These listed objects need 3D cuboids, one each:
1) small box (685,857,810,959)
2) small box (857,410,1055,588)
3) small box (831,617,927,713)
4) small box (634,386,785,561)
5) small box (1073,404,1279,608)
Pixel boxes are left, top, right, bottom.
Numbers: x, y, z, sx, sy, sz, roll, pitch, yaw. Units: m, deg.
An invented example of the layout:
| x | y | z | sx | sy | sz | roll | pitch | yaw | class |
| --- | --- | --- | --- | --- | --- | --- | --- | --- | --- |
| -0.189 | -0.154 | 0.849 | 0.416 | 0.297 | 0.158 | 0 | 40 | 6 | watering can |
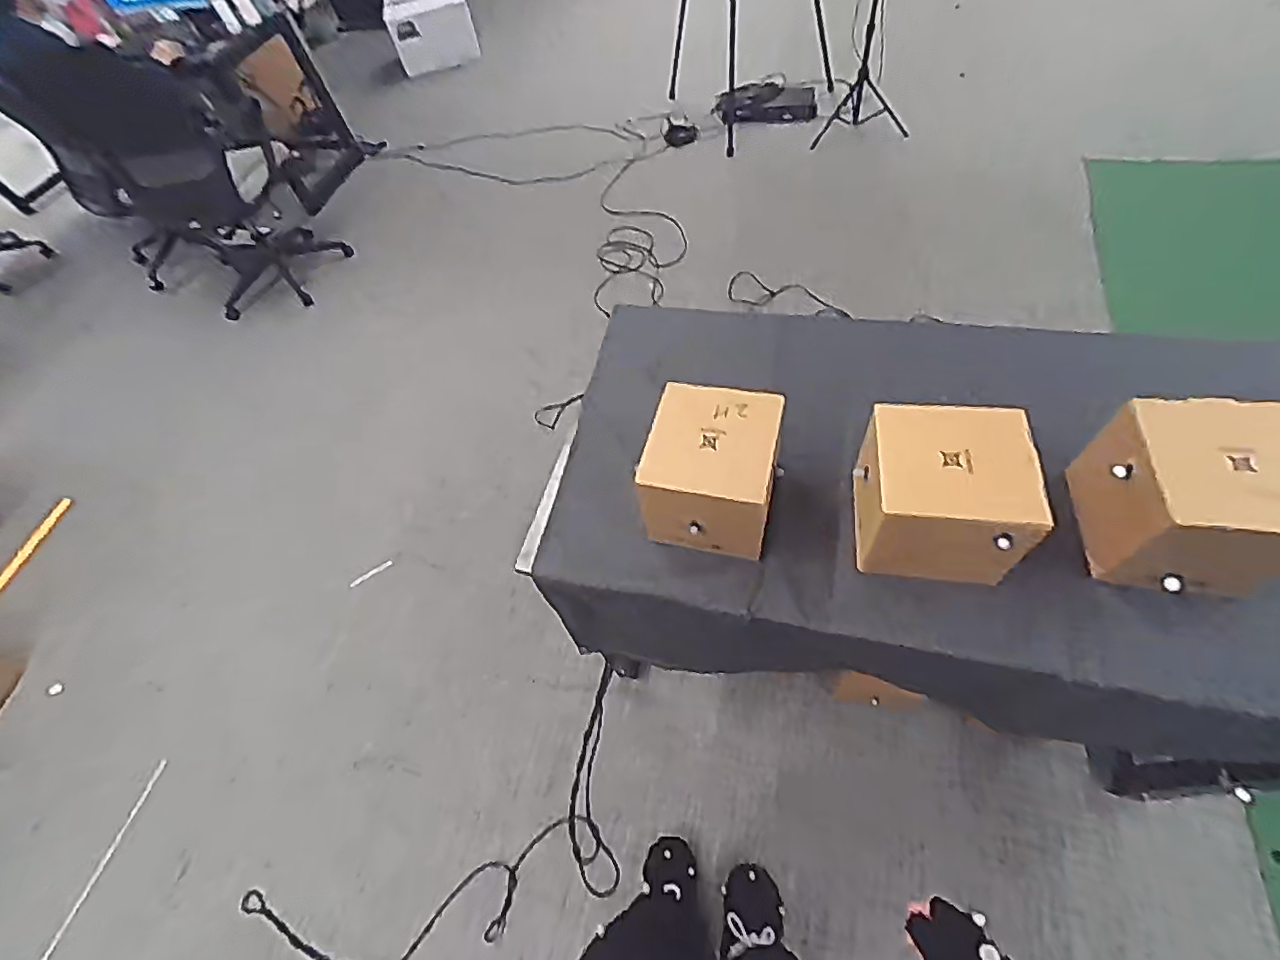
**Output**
| x | y | z | sx | sy | sz | roll | pitch | yaw | class |
| --- | --- | --- | --- | --- | --- | --- | --- | --- | --- |
| 0.205 | 0.901 | 1.051 | 0.179 | 0.176 | 0.168 | -18 | 26 | -28 | small box |
| 0.384 | 0.028 | 0.700 | 0.179 | 0.176 | 0.168 | 4 | 58 | 12 | small box |
| 0.558 | 0.440 | 1.276 | 0.179 | 0.176 | 0.168 | 6 | 59 | 15 | small box |
| 0.105 | -0.004 | 0.766 | 0.168 | 0.176 | 0.179 | 10 | 60 | 15 | small box |
| 0.662 | 0.033 | 0.648 | 0.168 | 0.176 | 0.179 | 5 | 59 | 14 | small box |
